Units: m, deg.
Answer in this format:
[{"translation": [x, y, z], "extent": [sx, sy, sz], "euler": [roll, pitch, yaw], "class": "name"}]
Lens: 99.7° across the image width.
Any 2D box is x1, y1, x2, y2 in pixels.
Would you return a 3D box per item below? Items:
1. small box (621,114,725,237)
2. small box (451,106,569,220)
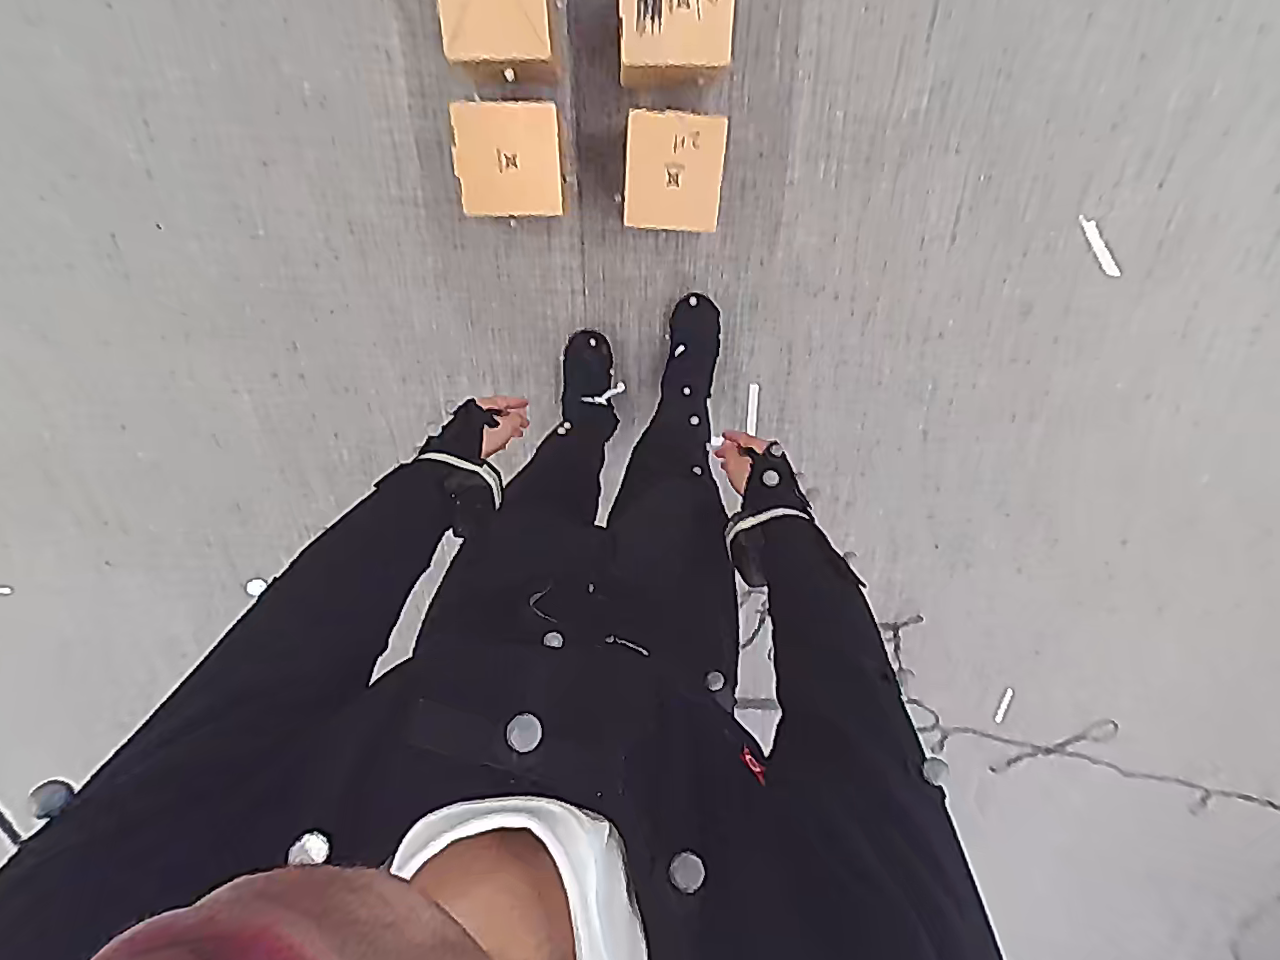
[{"translation": [0.053, -0.553, 0.999], "extent": [0.168, 0.176, 0.179], "euler": [3, 115, -4], "class": "small box"}, {"translation": [-0.224, -0.569, 0.986], "extent": [0.179, 0.176, 0.168], "euler": [0, 115, -1], "class": "small box"}]
